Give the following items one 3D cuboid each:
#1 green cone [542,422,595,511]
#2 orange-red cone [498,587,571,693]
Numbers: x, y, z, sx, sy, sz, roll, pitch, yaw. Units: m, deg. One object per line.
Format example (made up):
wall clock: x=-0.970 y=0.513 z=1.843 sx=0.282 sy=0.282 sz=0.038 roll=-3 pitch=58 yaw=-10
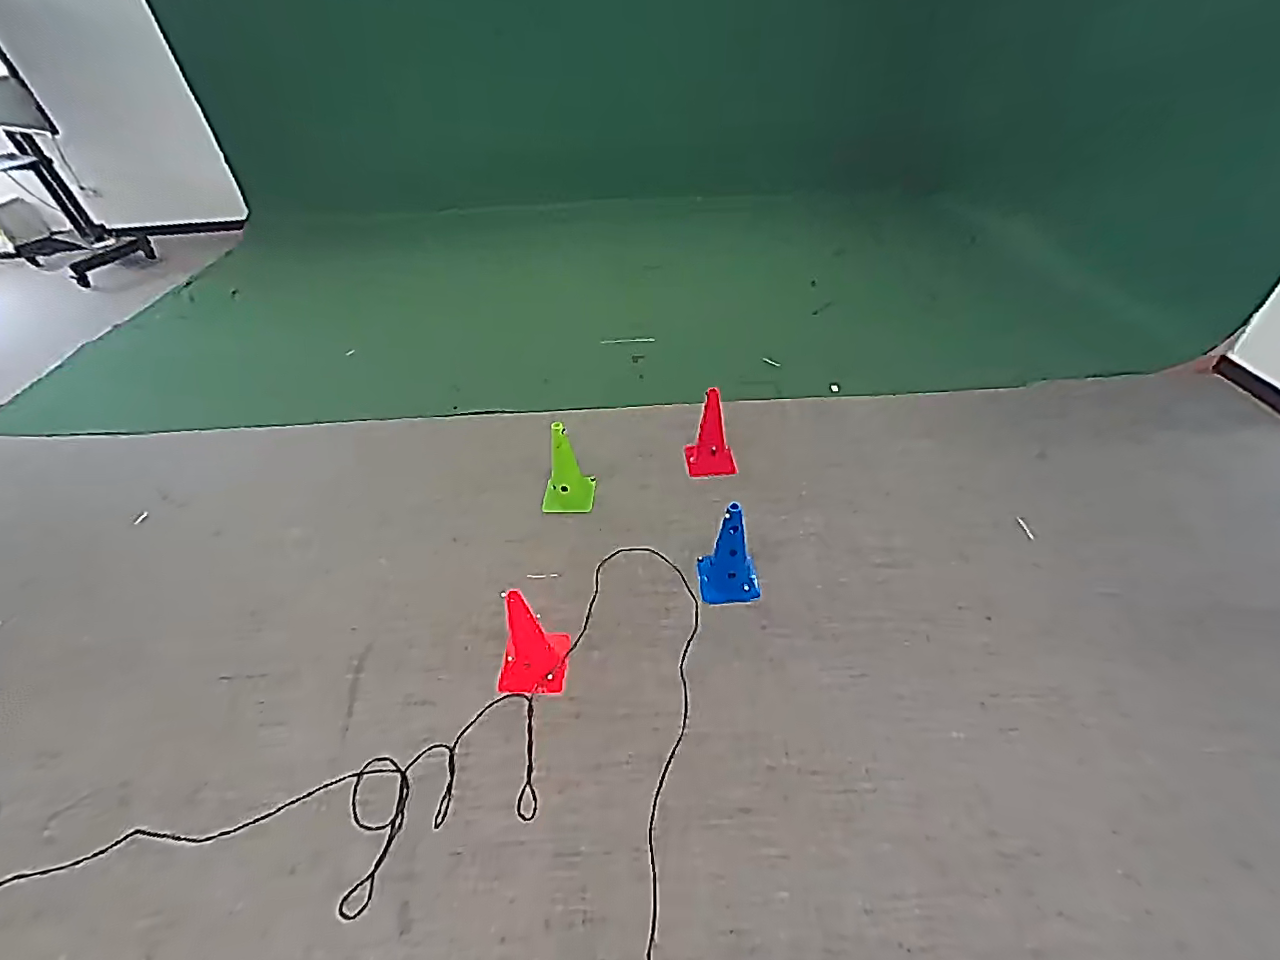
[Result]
green cone: x=-0.297 y=-0.074 z=2.077 sx=0.200 sy=0.368 sz=0.202 roll=-1 pitch=44 yaw=3
orange-red cone: x=-0.325 y=0.427 z=1.544 sx=0.198 sy=0.360 sz=0.199 roll=1 pitch=41 yaw=4
